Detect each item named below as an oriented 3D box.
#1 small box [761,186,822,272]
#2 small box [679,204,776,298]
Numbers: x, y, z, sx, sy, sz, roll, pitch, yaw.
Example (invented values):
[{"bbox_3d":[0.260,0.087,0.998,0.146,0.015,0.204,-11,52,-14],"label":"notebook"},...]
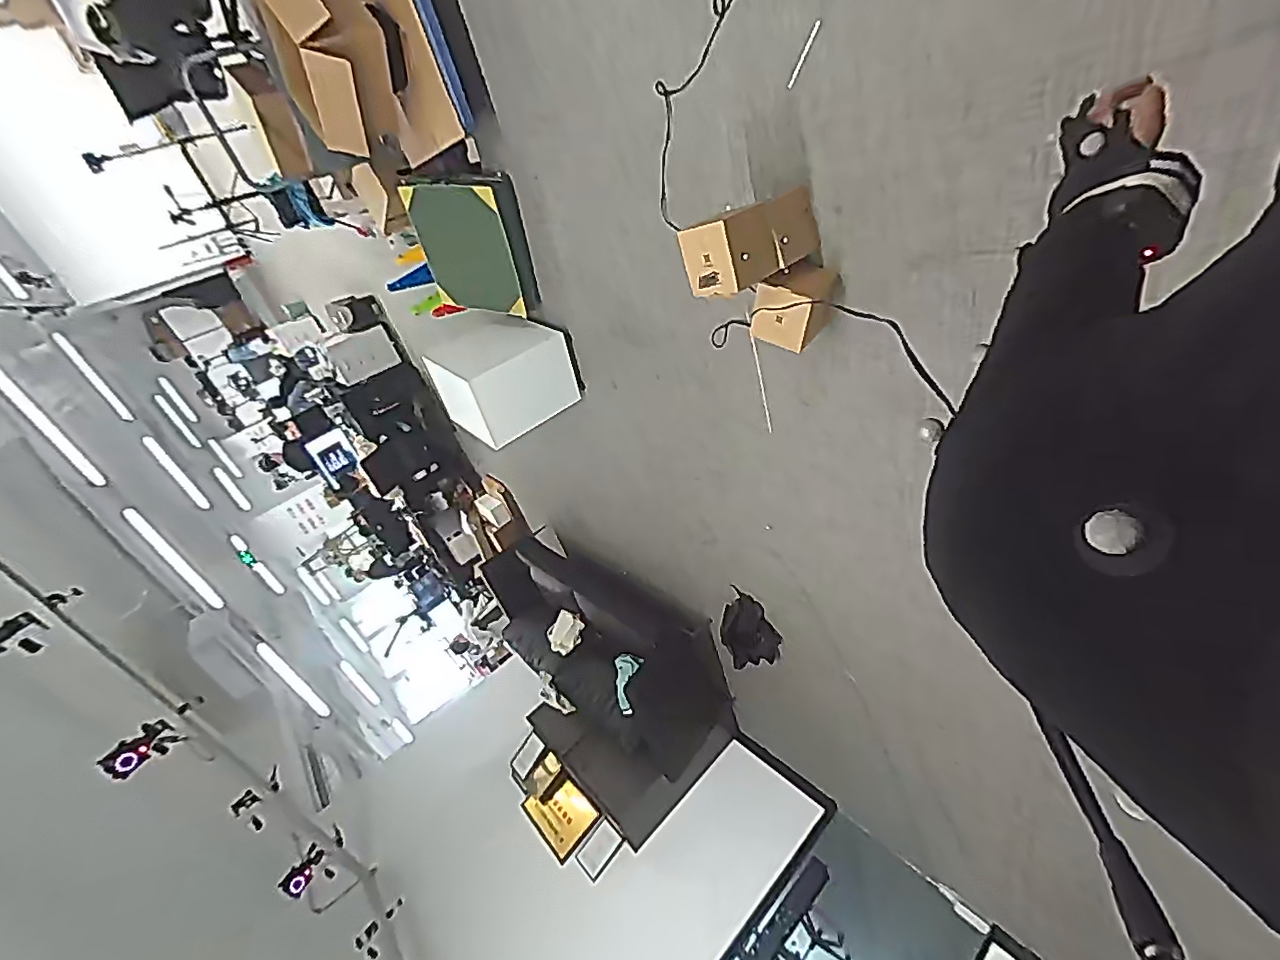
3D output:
[{"bbox_3d":[0.365,-0.674,1.488,0.179,0.176,0.168,9,132,56],"label":"small box"},{"bbox_3d":[0.235,-0.595,1.414,0.168,0.176,0.179,16,134,50],"label":"small box"}]
